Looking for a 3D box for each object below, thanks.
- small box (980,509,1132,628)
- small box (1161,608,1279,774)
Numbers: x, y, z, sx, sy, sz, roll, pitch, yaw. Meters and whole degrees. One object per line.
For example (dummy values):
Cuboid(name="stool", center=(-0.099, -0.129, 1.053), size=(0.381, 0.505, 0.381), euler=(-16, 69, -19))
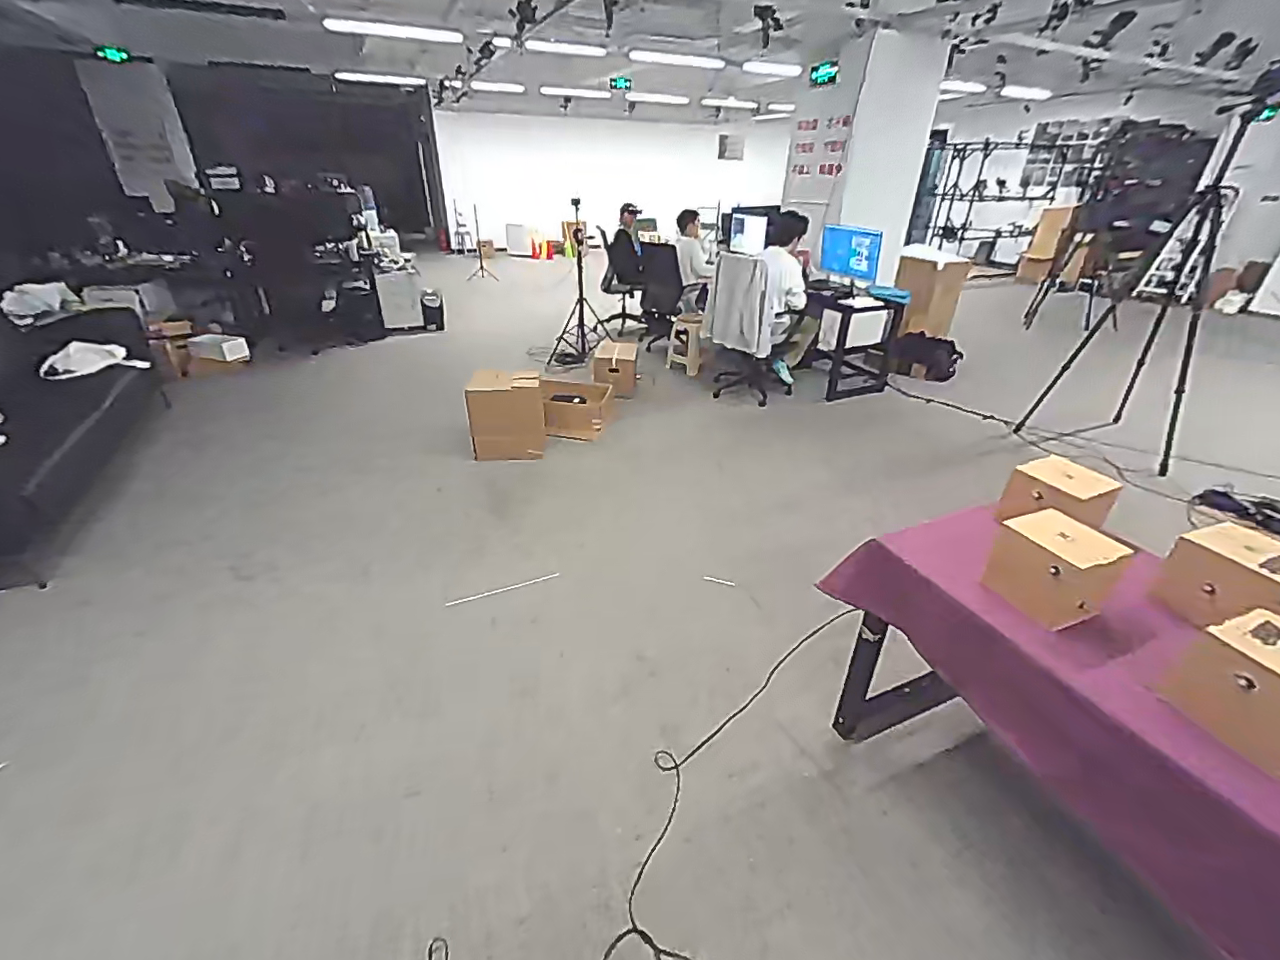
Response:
Cuboid(name="small box", center=(0.886, 0.188, 1.171), size=(0.168, 0.176, 0.179), euler=(-10, 33, -19))
Cuboid(name="small box", center=(1.038, 0.346, 0.895), size=(0.168, 0.176, 0.179), euler=(-10, 32, -18))
